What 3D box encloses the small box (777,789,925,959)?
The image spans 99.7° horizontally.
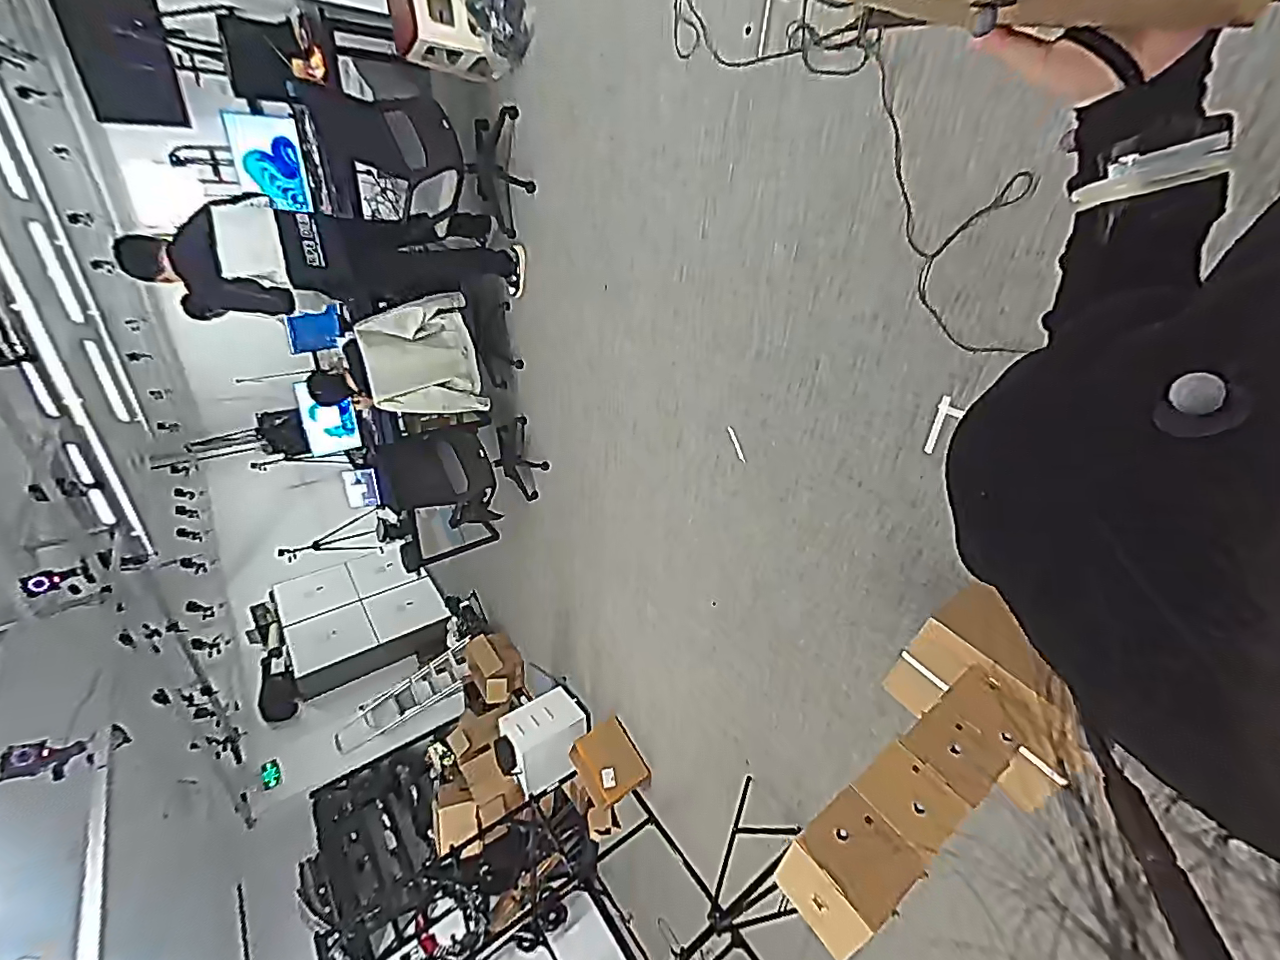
[{"bbox_3d":[0.385,0.713,0.987,0.168,0.176,0.179,41,138,40],"label":"small box"}]

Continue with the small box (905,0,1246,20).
[{"bbox_3d":[0.228,-0.329,0.252,0.179,0.176,0.168,35,137,33],"label":"small box"}]

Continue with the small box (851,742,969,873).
[{"bbox_3d":[0.514,0.664,1.073,0.168,0.176,0.179,40,137,38],"label":"small box"}]

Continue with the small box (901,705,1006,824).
[{"bbox_3d":[0.644,0.623,1.161,0.168,0.176,0.179,42,137,37],"label":"small box"}]
